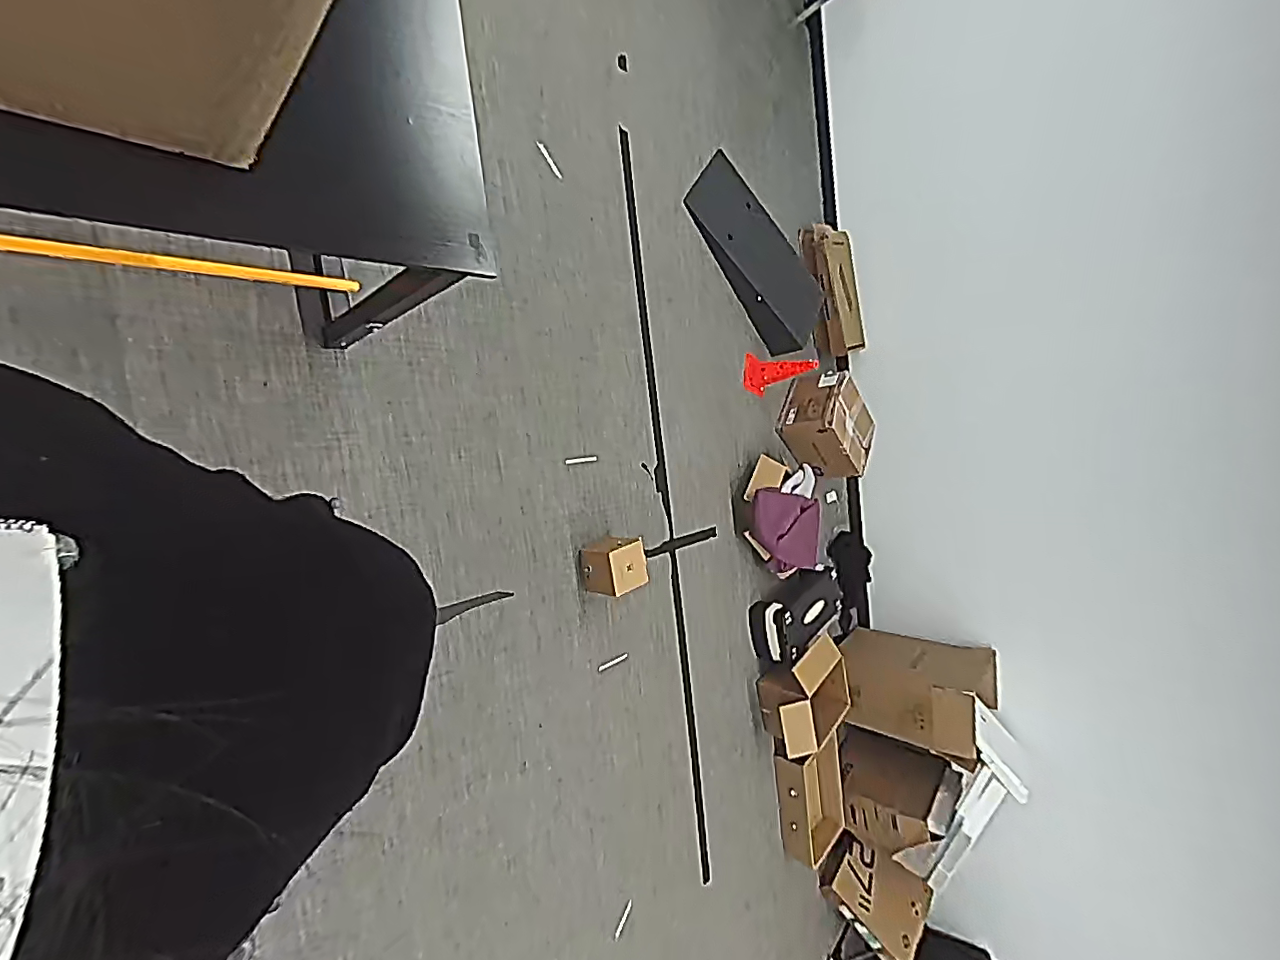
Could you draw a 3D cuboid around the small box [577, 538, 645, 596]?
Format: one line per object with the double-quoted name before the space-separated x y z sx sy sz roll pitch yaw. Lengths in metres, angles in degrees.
"small box" -0.107 0.316 2.009 0.179 0.176 0.168 -17 100 -44
